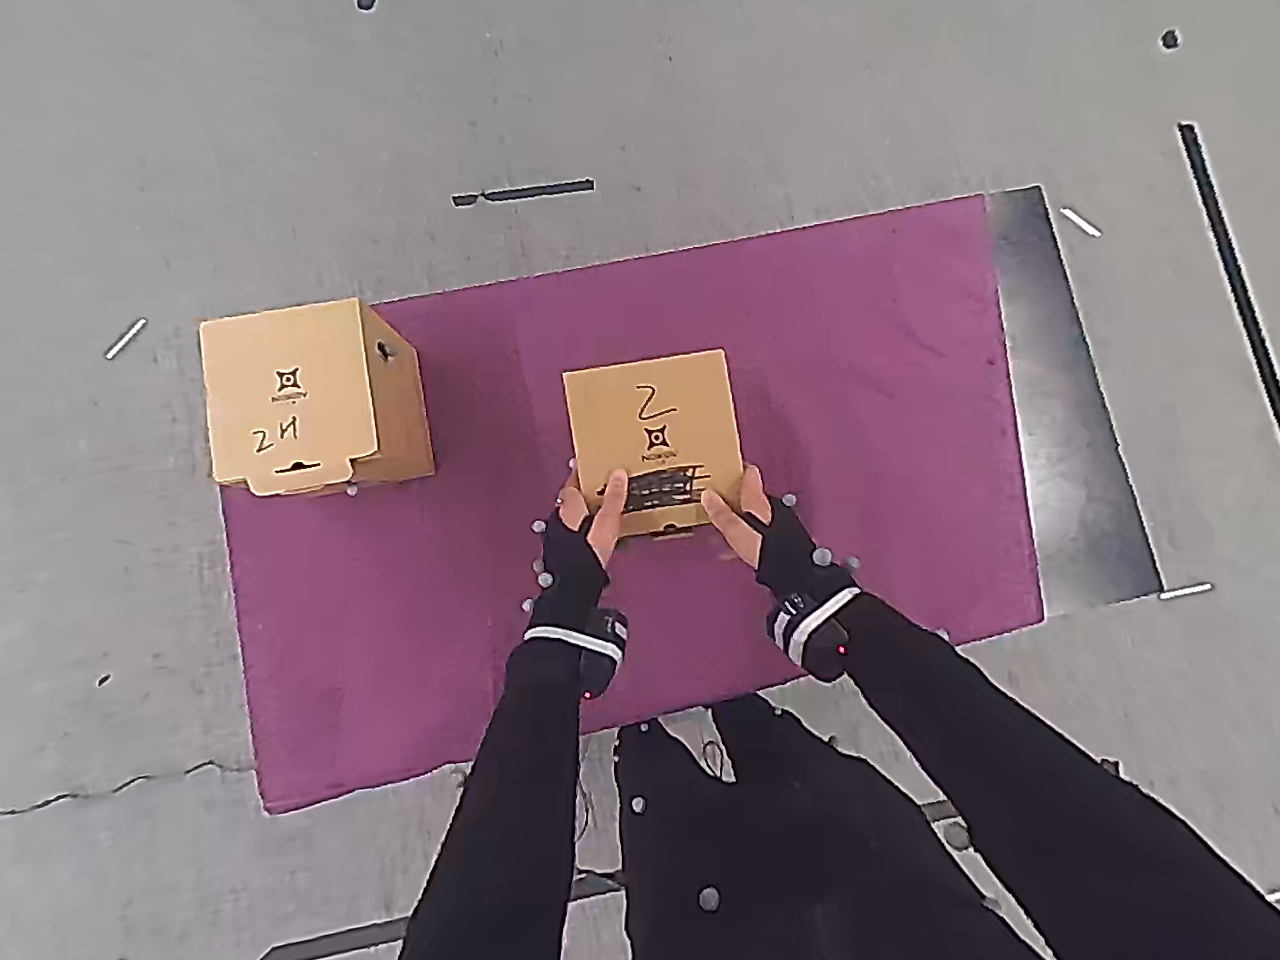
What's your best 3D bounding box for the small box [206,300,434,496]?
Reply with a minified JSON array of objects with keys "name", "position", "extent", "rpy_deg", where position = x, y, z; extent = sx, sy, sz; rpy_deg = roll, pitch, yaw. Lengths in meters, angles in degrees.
[{"name":"small box","position":[-0.361,-0.085,0.638],"extent":[0.168,0.176,0.179],"rpy_deg":[-10,85,-3]}]
